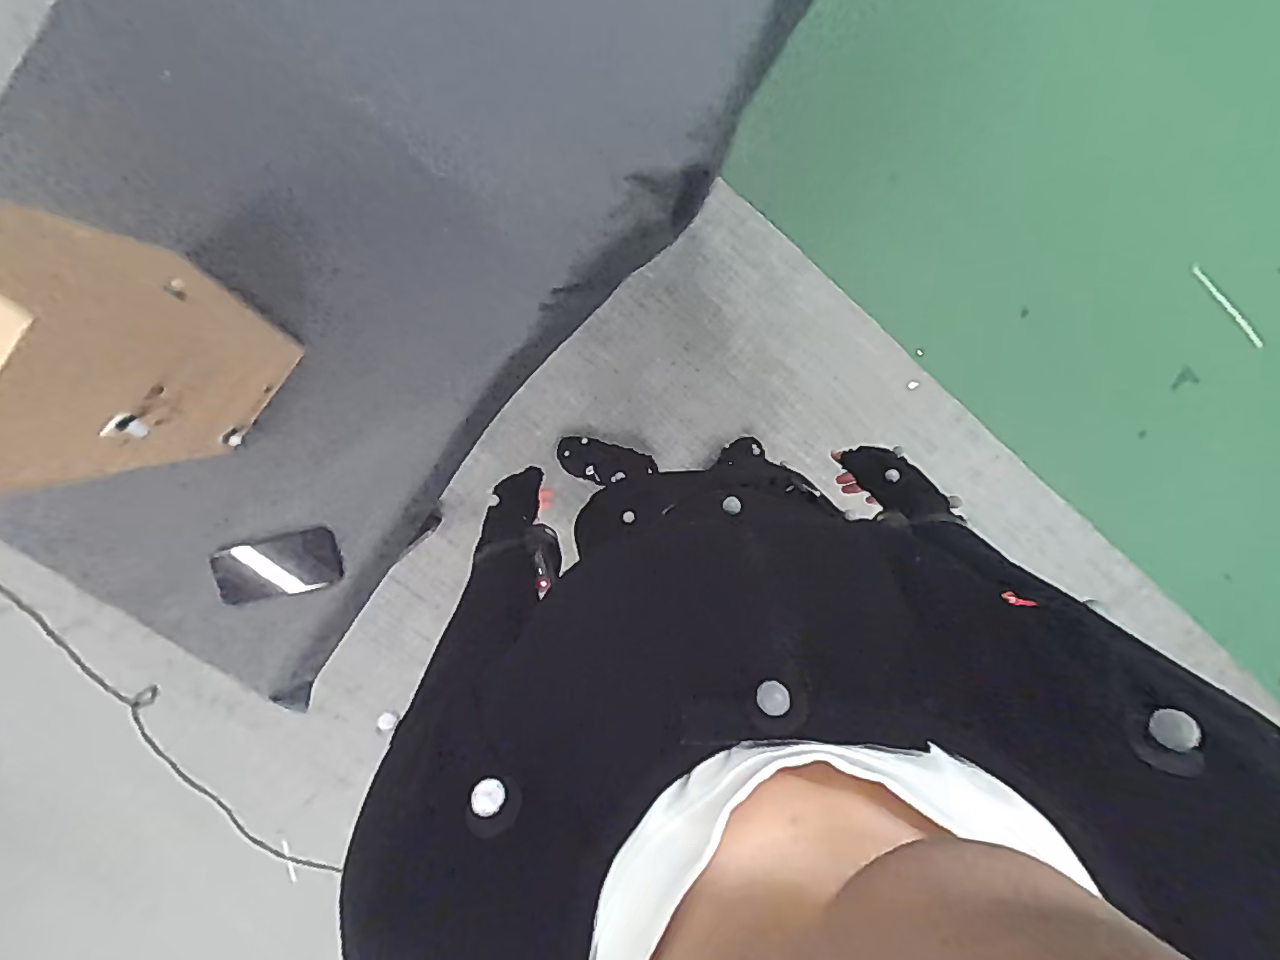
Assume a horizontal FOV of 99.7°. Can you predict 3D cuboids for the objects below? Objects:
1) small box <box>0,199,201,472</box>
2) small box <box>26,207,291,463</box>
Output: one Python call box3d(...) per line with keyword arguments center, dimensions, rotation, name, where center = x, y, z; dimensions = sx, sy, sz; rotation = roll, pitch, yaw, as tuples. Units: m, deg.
box3d(center=(-0.512, -0.114, 0.417), dimensions=(0.179, 0.176, 0.168), rotation=(38, 96, -10), name="small box")
box3d(center=(-0.527, -0.143, 0.575), dimensions=(0.179, 0.176, 0.168), rotation=(39, 95, -8), name="small box")
